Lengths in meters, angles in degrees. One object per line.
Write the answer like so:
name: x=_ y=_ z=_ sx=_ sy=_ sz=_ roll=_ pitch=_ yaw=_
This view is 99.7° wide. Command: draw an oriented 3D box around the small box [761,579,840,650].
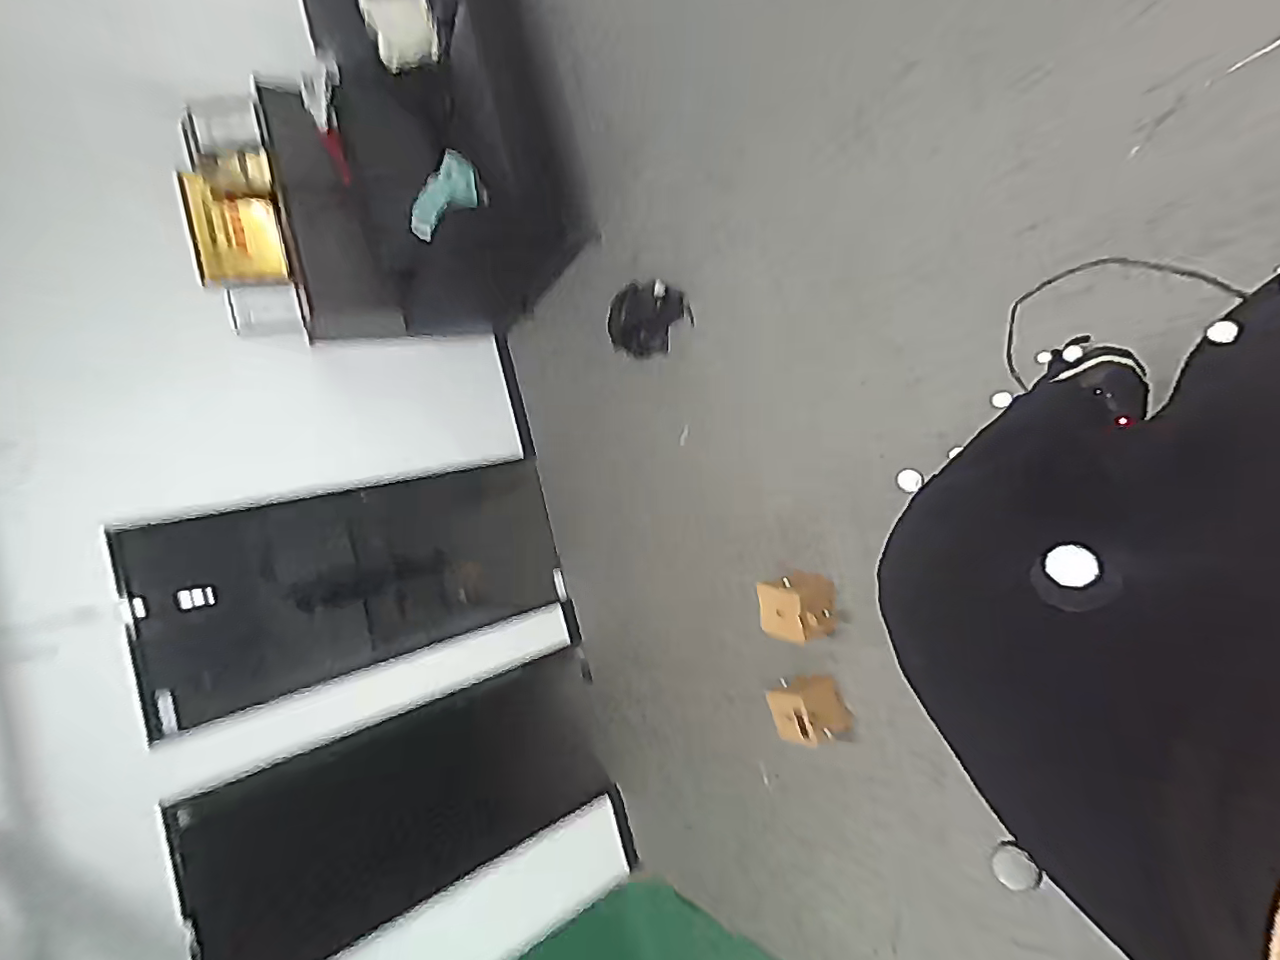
small box: x=0.519 y=0.427 z=1.752 sx=0.179 sy=0.176 sz=0.168 roll=0 pitch=100 yaw=55
